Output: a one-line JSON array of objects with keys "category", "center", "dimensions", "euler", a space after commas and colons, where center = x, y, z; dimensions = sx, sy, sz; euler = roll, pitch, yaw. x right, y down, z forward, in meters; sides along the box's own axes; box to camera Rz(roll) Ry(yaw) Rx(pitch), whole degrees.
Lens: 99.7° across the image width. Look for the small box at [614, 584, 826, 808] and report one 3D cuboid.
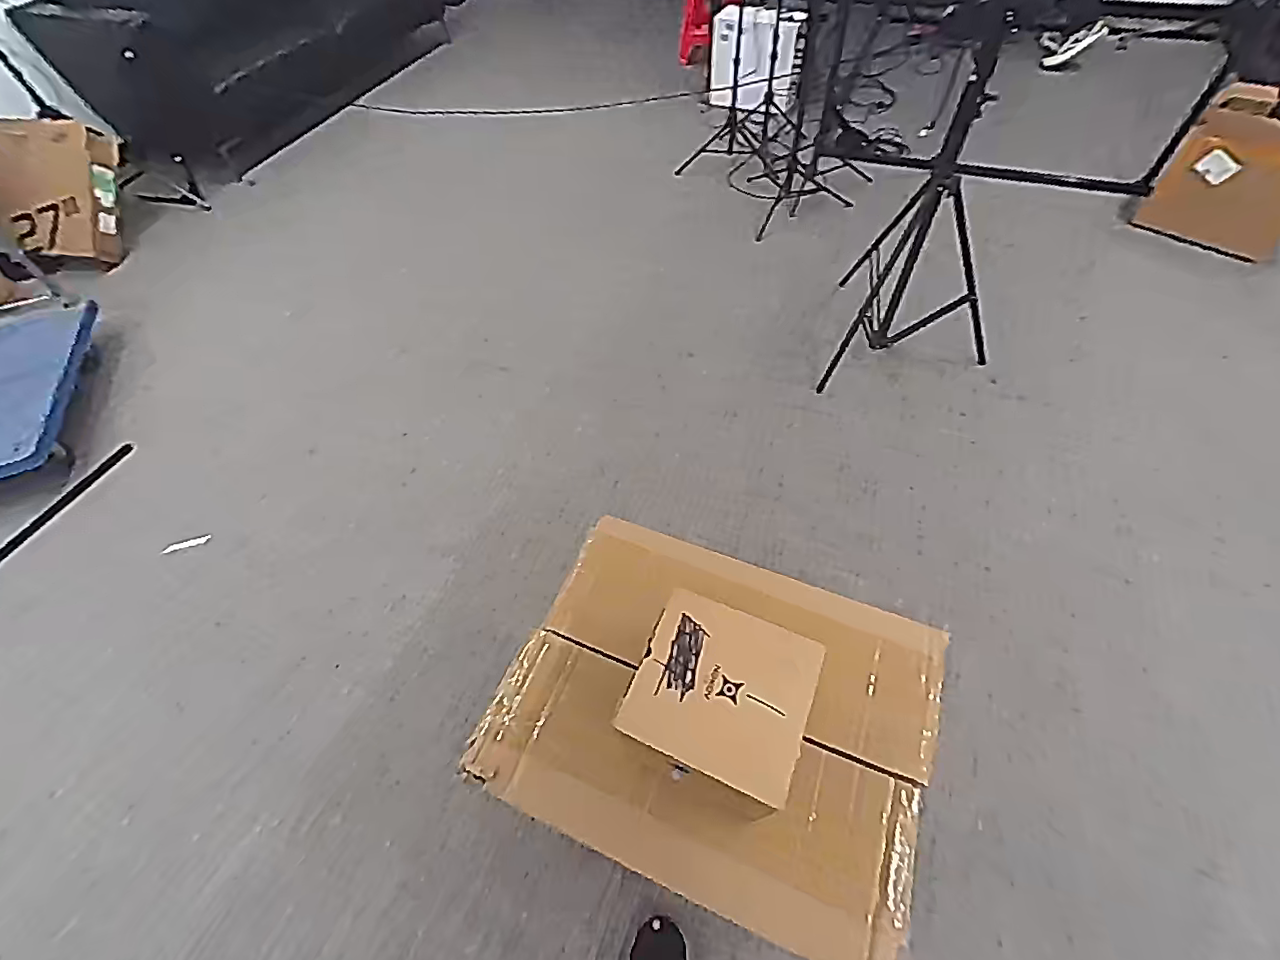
[{"category": "small box", "center": [0.089, 0.250, 0.615], "dimensions": [0.179, 0.176, 0.168], "euler": [19, 59, 16]}]
